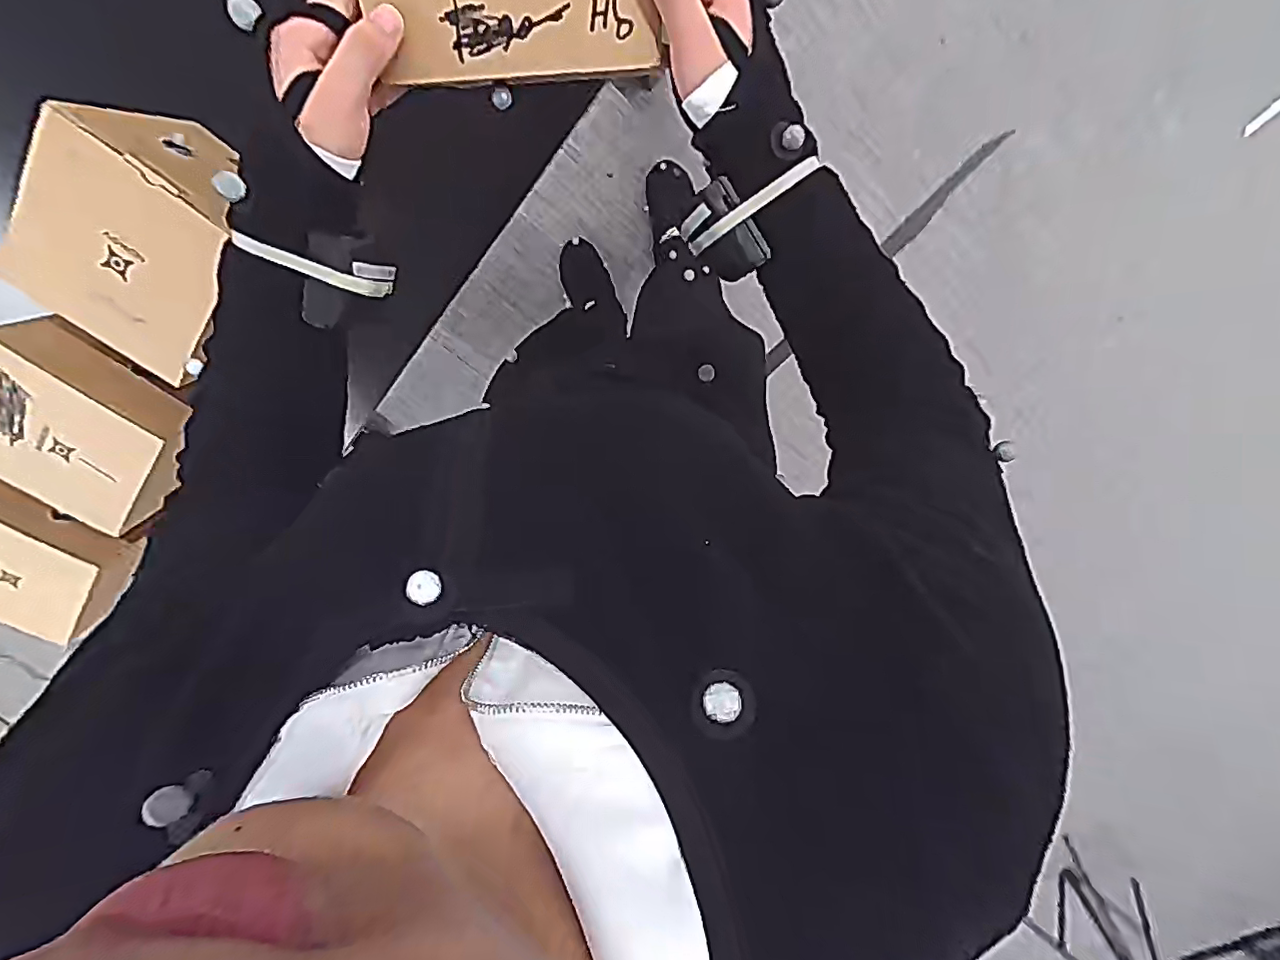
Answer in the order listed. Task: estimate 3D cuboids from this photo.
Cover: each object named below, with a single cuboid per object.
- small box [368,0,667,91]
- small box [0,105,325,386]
[{"bbox_3d":[-0.072,-0.350,0.332,0.168,0.176,0.179,-3,126,0],"label":"small box"},{"bbox_3d":[-0.461,-0.233,0.551,0.168,0.176,0.179,37,113,-17],"label":"small box"}]
